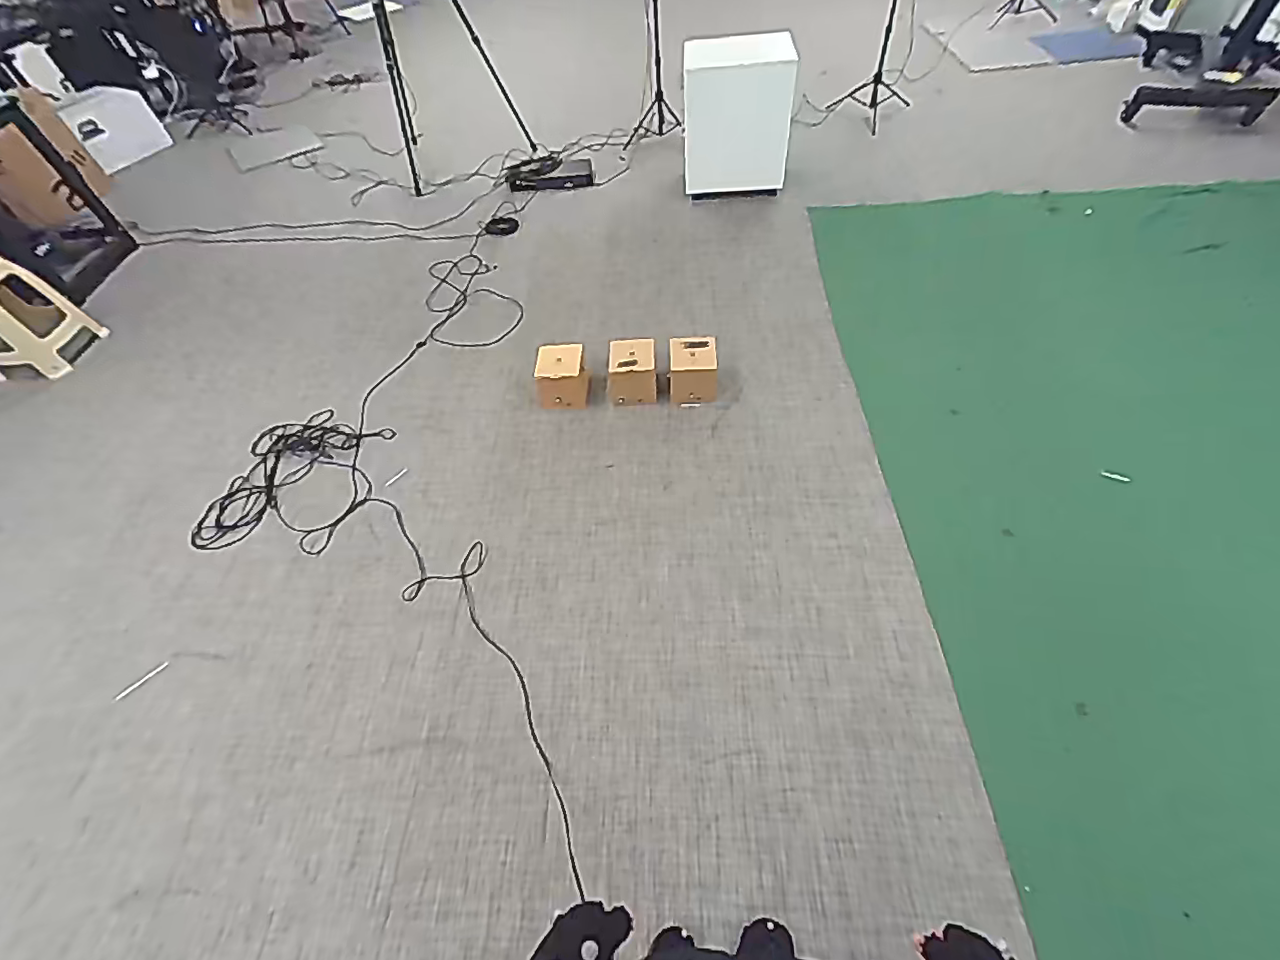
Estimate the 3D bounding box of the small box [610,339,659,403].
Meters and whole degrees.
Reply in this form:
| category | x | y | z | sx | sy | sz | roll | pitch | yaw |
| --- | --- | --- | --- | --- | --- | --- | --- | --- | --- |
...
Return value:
| category | x | y | z | sx | sy | sz | roll | pitch | yaw |
| --- | --- | --- | --- | --- | --- | --- | --- | --- | --- |
| small box | -0.017 | -0.405 | 2.041 | 0.168 | 0.176 | 0.179 | -3 | 52 | 5 |

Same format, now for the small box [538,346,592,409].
| category | x | y | z | sx | sy | sz | roll | pitch | yaw |
| --- | --- | --- | --- | --- | --- | --- | --- | --- | --- |
| small box | -0.282 | -0.390 | 2.062 | 0.168 | 0.176 | 0.179 | -2 | 53 | 5 |
